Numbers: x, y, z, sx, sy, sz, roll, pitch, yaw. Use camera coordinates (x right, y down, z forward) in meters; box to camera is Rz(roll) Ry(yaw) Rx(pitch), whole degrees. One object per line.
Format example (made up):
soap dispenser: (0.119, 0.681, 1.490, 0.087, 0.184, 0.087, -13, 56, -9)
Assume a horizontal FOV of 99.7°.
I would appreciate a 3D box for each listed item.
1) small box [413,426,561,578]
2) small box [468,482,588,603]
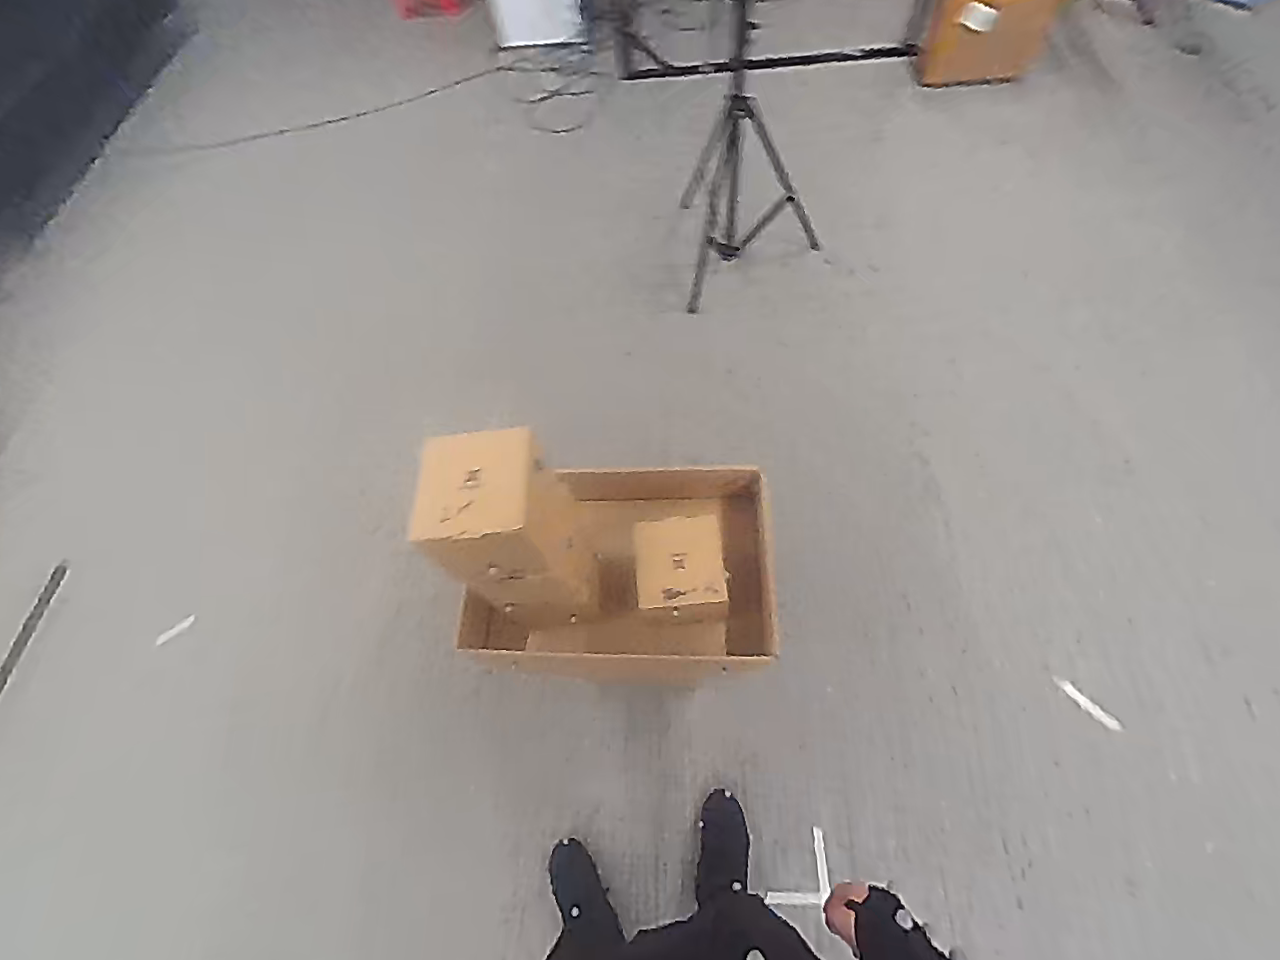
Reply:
small box: (-0.225, 0.039, 0.846, 0.168, 0.176, 0.179, -5, 61, 5)
small box: (-0.193, 0.122, 0.986, 0.168, 0.176, 0.179, -4, 61, 6)
